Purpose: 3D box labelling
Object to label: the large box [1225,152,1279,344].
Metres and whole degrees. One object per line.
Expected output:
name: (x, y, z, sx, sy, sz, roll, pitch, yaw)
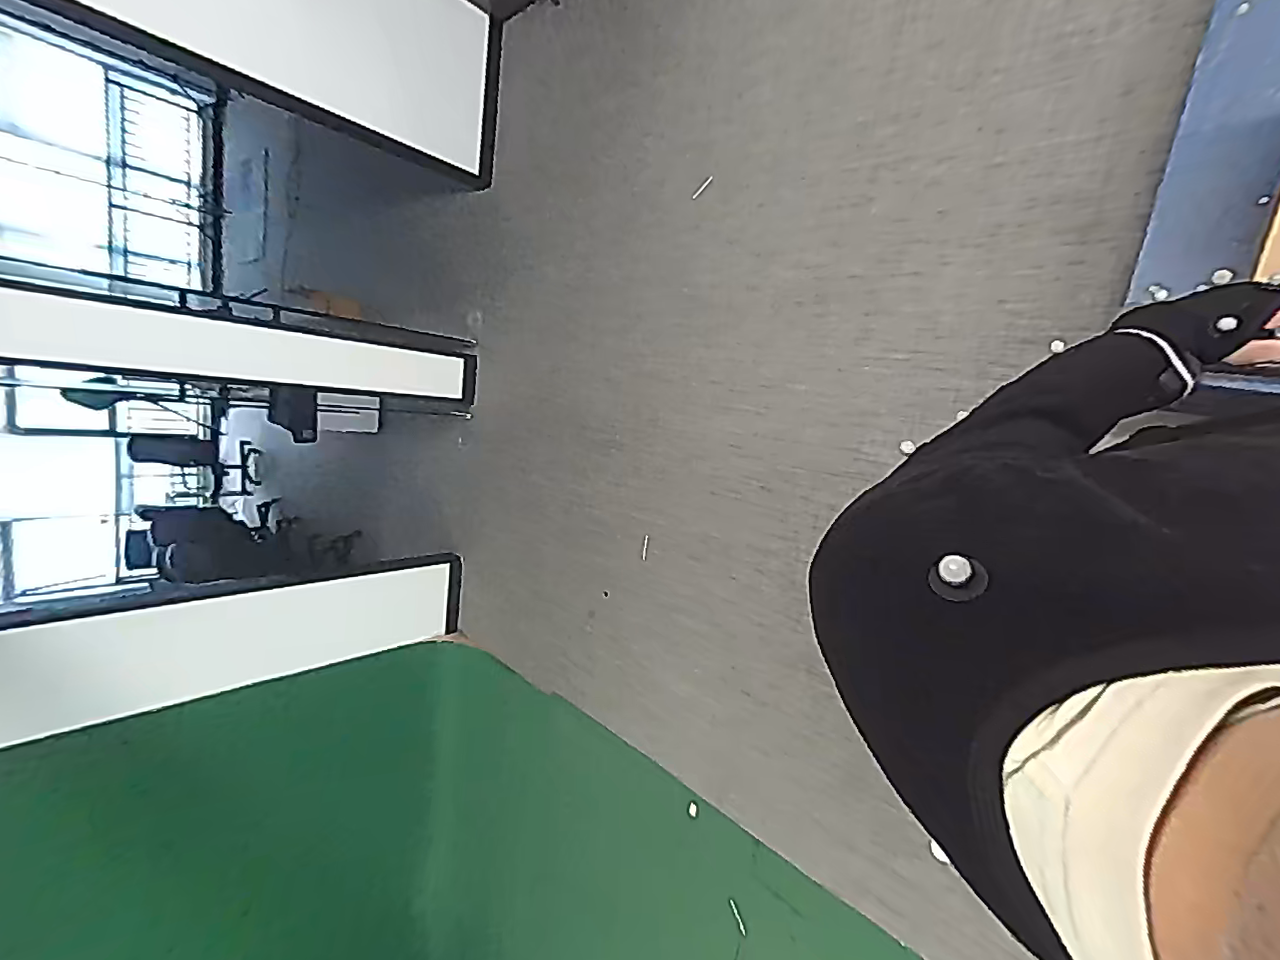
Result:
large box: (1.139, -0.420, 0.786, 0.320, 0.320, 0.408, 17, 102, 40)
